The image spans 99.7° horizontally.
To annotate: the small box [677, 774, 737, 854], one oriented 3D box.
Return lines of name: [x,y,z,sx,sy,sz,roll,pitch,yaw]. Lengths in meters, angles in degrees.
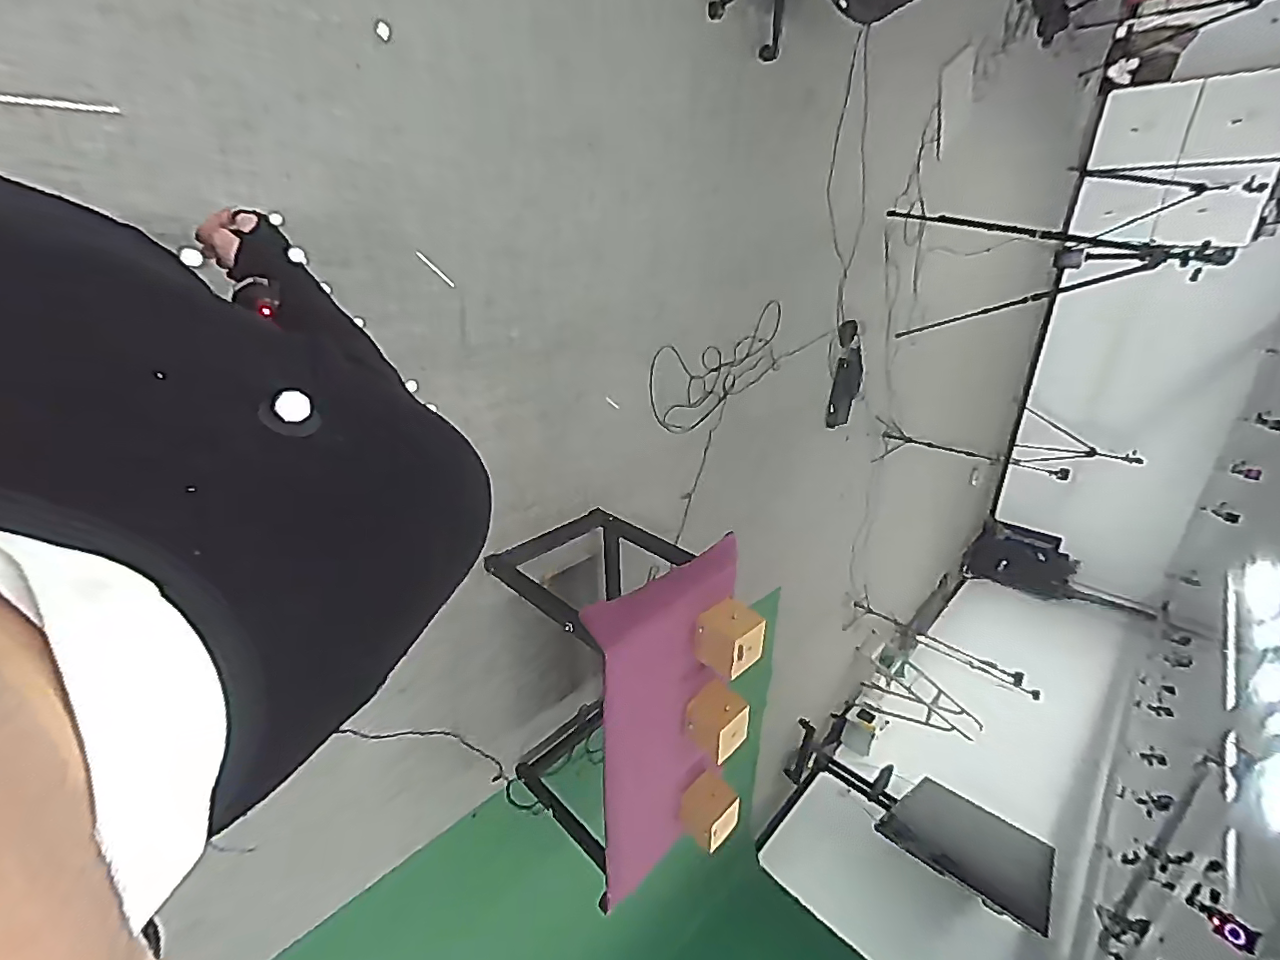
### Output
small box: [0.267,1.328,2.165,0.179,0.176,0.168,-23,121,-41]

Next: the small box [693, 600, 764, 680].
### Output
small box: [0.300,0.545,1.862,0.179,0.176,0.168,-19,120,-41]

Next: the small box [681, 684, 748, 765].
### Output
small box: [0.273,0.890,1.987,0.179,0.176,0.168,-21,120,-40]
